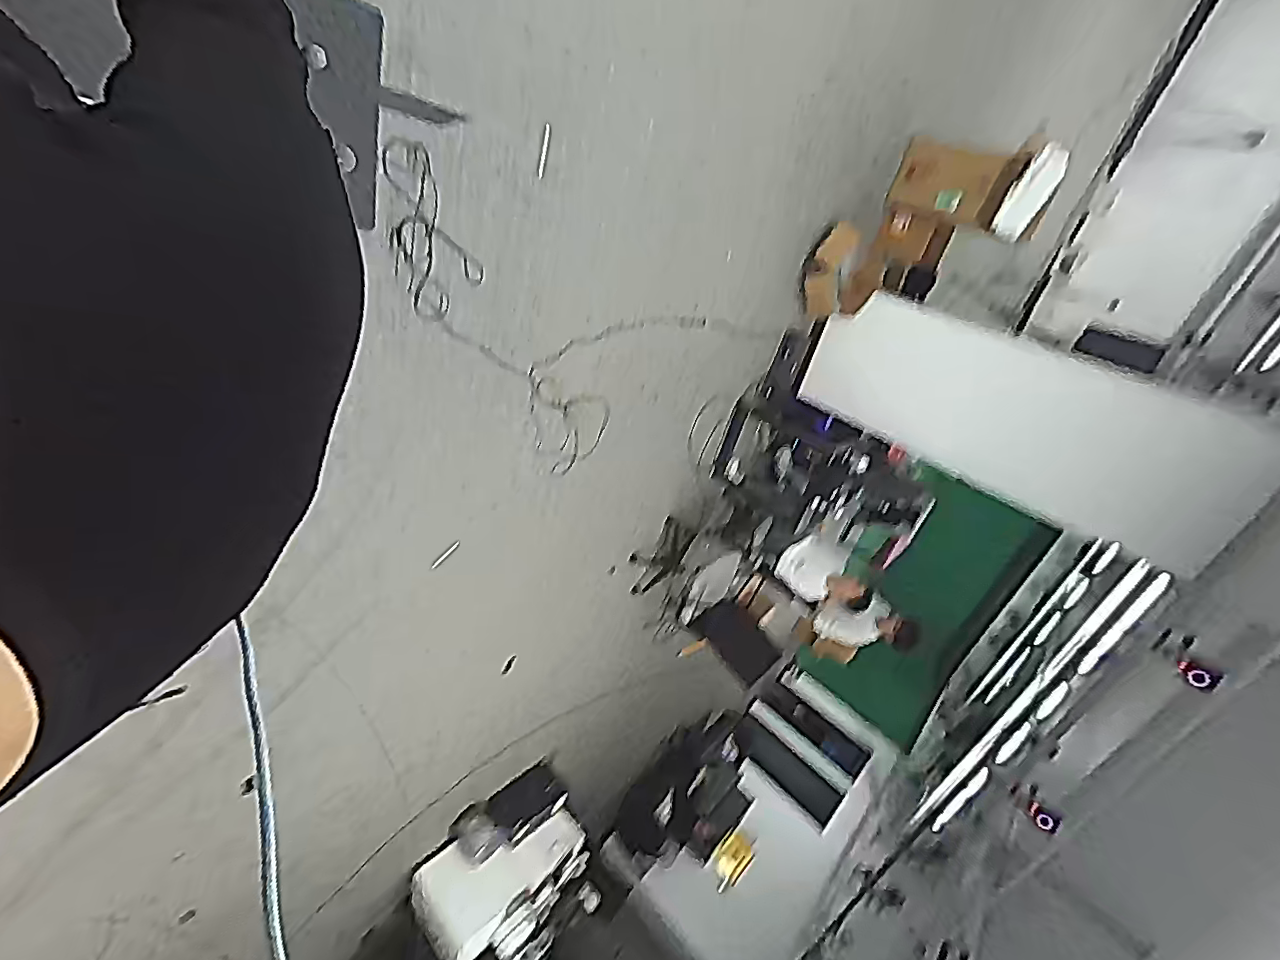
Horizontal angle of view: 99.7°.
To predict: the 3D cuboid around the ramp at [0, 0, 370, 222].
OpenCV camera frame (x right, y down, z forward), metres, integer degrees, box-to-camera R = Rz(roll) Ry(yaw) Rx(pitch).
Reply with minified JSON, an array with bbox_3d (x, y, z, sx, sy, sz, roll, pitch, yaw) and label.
[{"bbox_3d":[-0.958,-0.779,0.983,0.991,0.206,0.509,-18,133,-46],"label":"ramp"}]
